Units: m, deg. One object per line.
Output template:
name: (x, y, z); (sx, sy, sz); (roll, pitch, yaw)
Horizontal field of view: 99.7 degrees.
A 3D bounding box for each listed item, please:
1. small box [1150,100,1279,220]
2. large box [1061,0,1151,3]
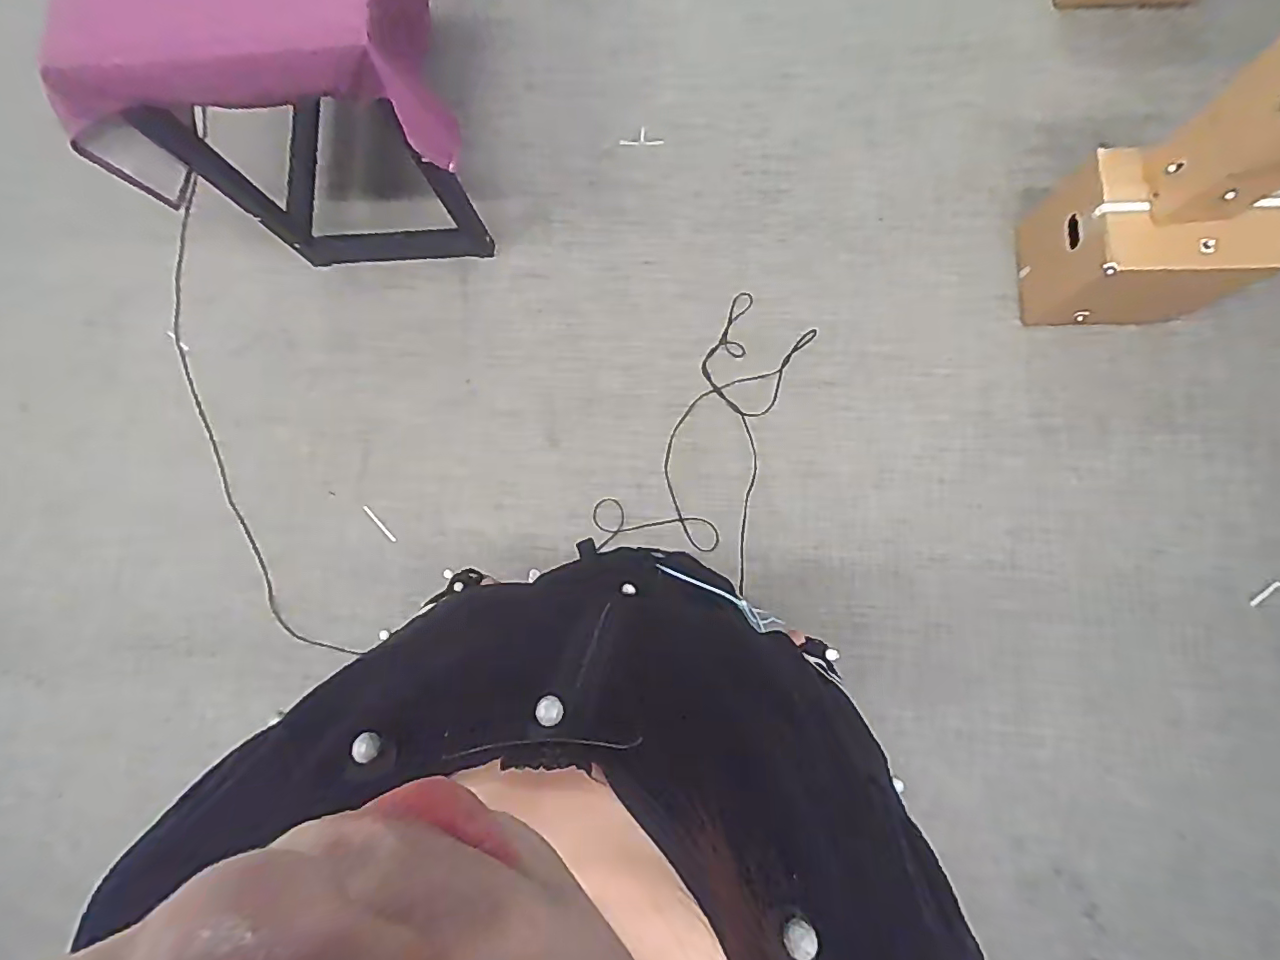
small box: (1.256, -0.687, 1.165); (0.179, 0.176, 0.168); (-3, 81, 3)
large box: (1.467, -1.620, 1.513); (0.408, 0.320, 0.320); (1, 82, 2)
